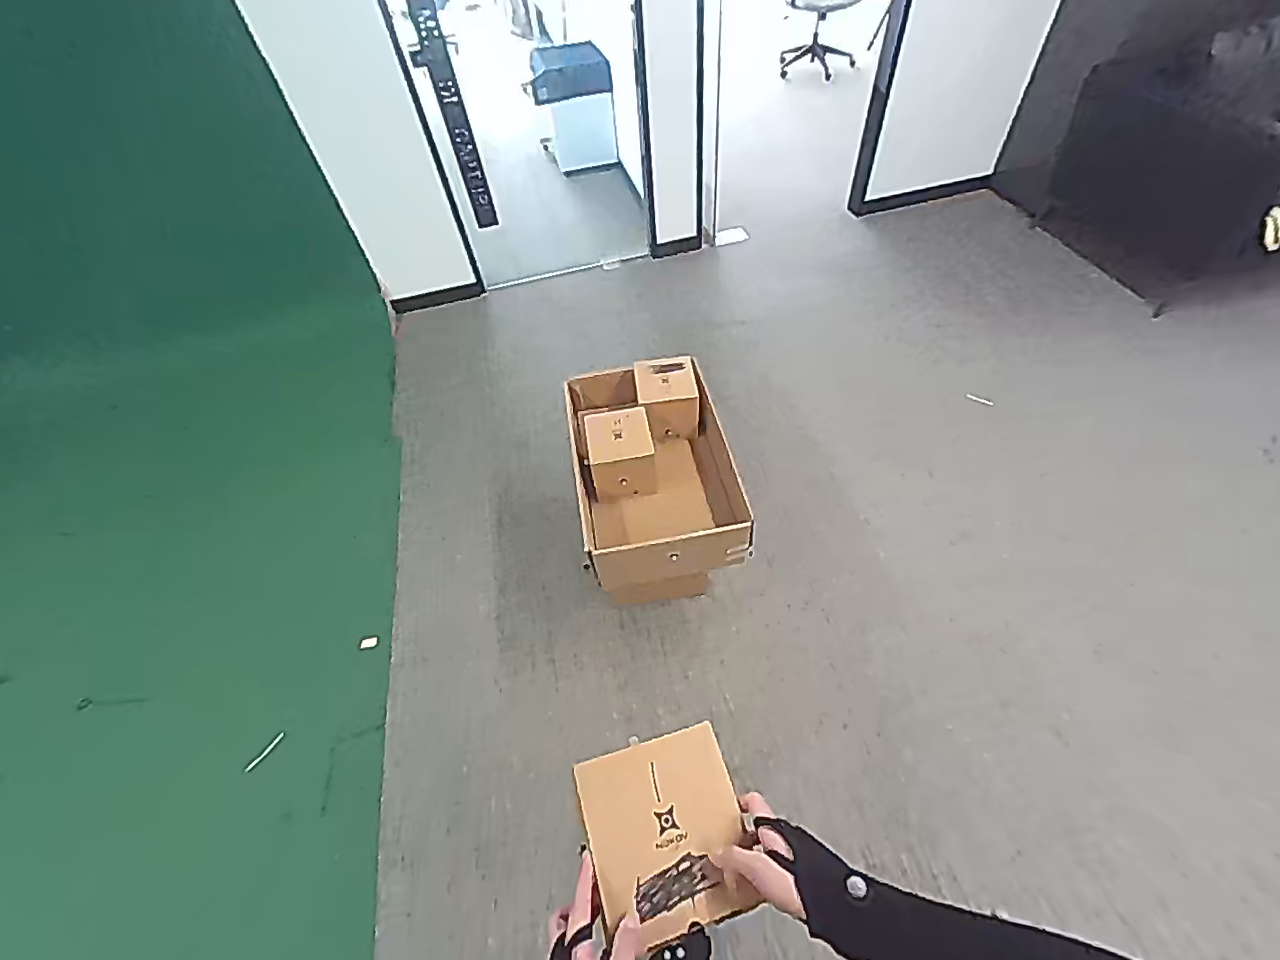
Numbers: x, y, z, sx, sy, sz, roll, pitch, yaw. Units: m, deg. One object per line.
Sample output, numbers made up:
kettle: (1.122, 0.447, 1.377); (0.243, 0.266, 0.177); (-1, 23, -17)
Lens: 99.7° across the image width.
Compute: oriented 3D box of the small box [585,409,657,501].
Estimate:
small box: (-0.048, -0.059, 1.441); (0.168, 0.176, 0.179); (-9, 52, -2)

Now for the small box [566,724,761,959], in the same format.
small box: (0.012, 0.406, 0.624); (0.168, 0.176, 0.179); (-10, 59, -16)
